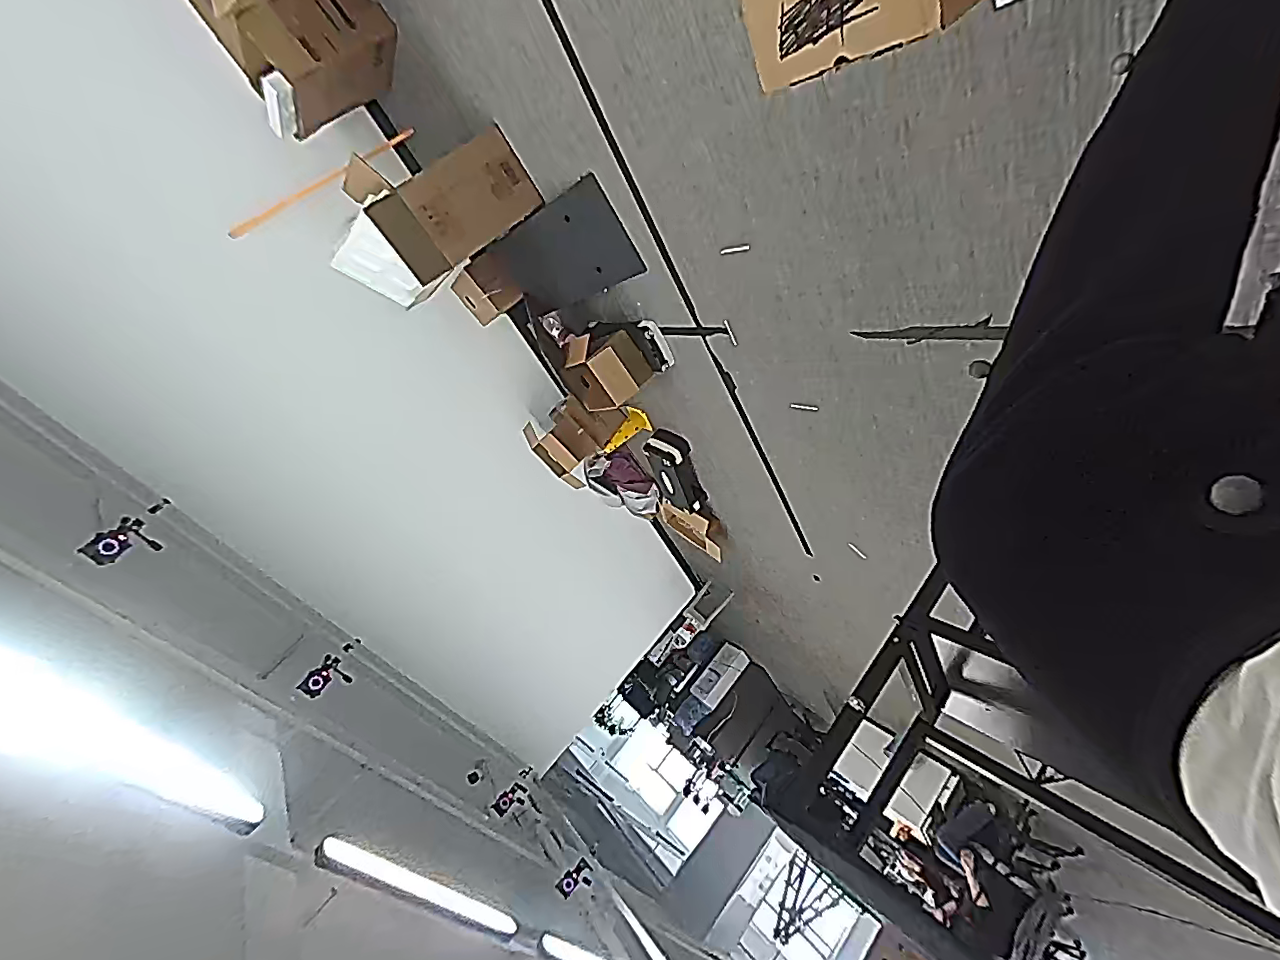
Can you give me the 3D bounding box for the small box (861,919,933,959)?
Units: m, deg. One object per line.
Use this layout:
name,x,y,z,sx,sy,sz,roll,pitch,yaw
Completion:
small box,0.738,1.396,1.533,0.168,0.176,0.179,24,154,47

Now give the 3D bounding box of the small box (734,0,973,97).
small box,0.182,-0.450,0.422,0.168,0.176,0.179,22,150,48
